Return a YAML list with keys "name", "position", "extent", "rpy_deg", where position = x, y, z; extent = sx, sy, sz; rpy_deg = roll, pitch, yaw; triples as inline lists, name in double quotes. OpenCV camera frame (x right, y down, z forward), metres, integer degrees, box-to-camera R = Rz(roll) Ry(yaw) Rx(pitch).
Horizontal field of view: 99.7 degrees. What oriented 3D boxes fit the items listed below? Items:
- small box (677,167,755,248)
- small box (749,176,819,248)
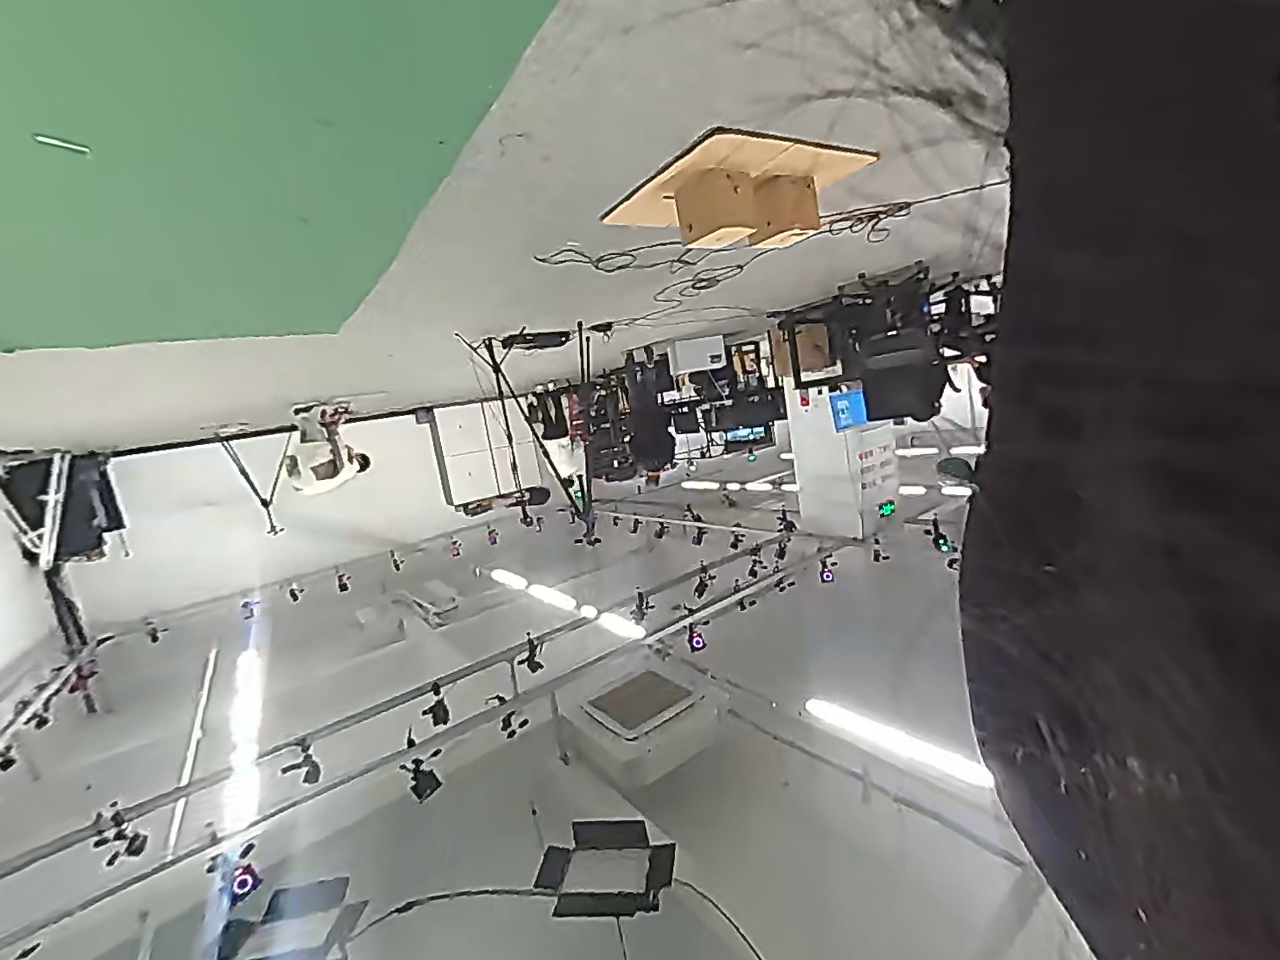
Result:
- name: "small box"
  position: [0.231, -0.836, 1.672]
  extent: [0.168, 0.176, 0.179]
  rpy_deg: [-17, -170, -36]
- name: "small box"
  position: [0.468, -0.894, 1.809]
  extent: [0.168, 0.176, 0.179]
  rpy_deg: [-15, -170, -30]
